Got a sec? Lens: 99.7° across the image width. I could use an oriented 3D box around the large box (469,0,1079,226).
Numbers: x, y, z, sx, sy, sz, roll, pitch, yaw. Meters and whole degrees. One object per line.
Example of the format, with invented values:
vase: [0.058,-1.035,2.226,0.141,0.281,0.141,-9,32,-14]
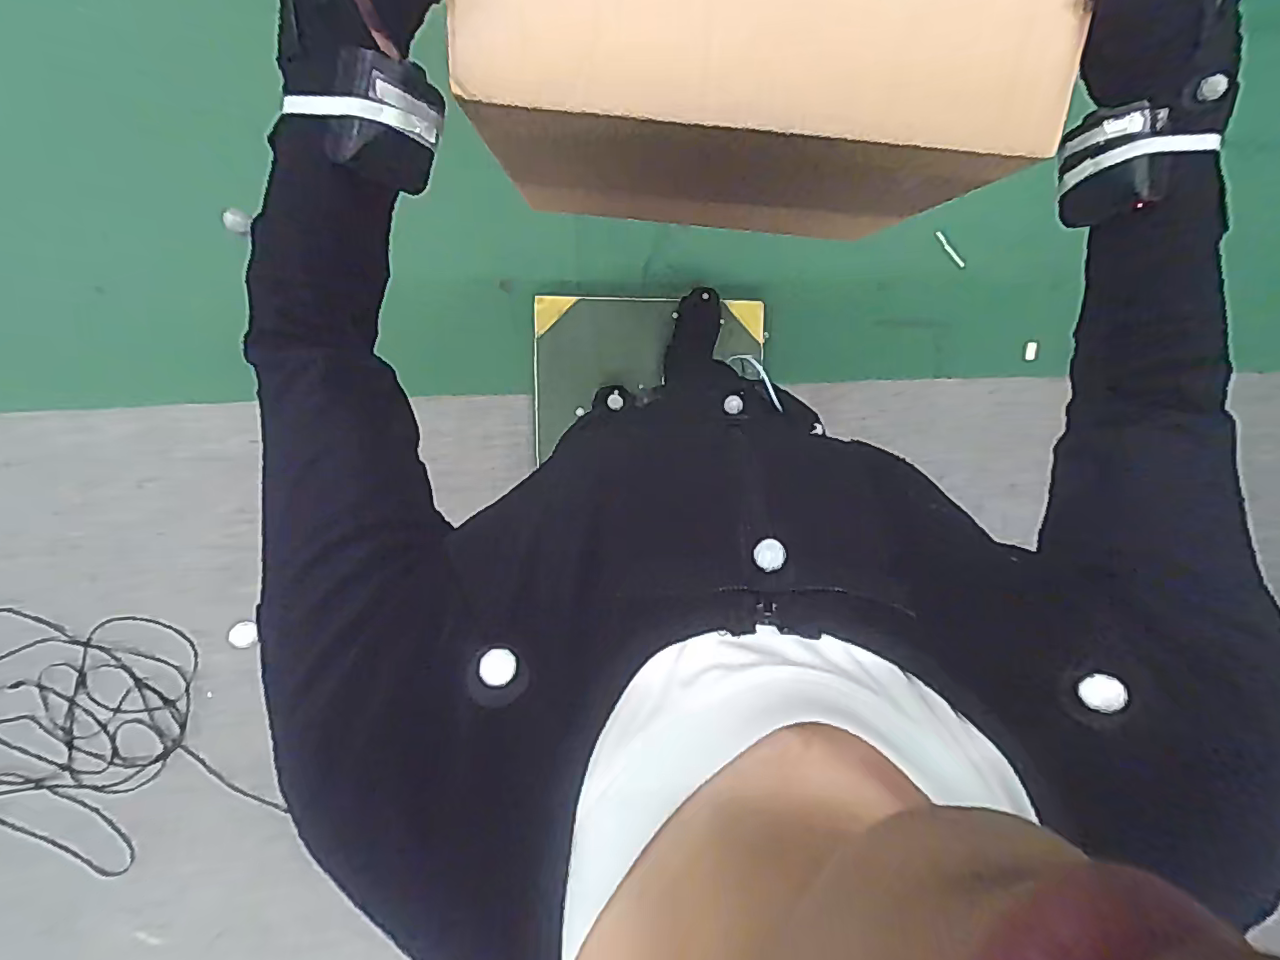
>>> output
large box: [0.085,-0.429,0.469,0.408,0.320,0.320,3,105,-4]
